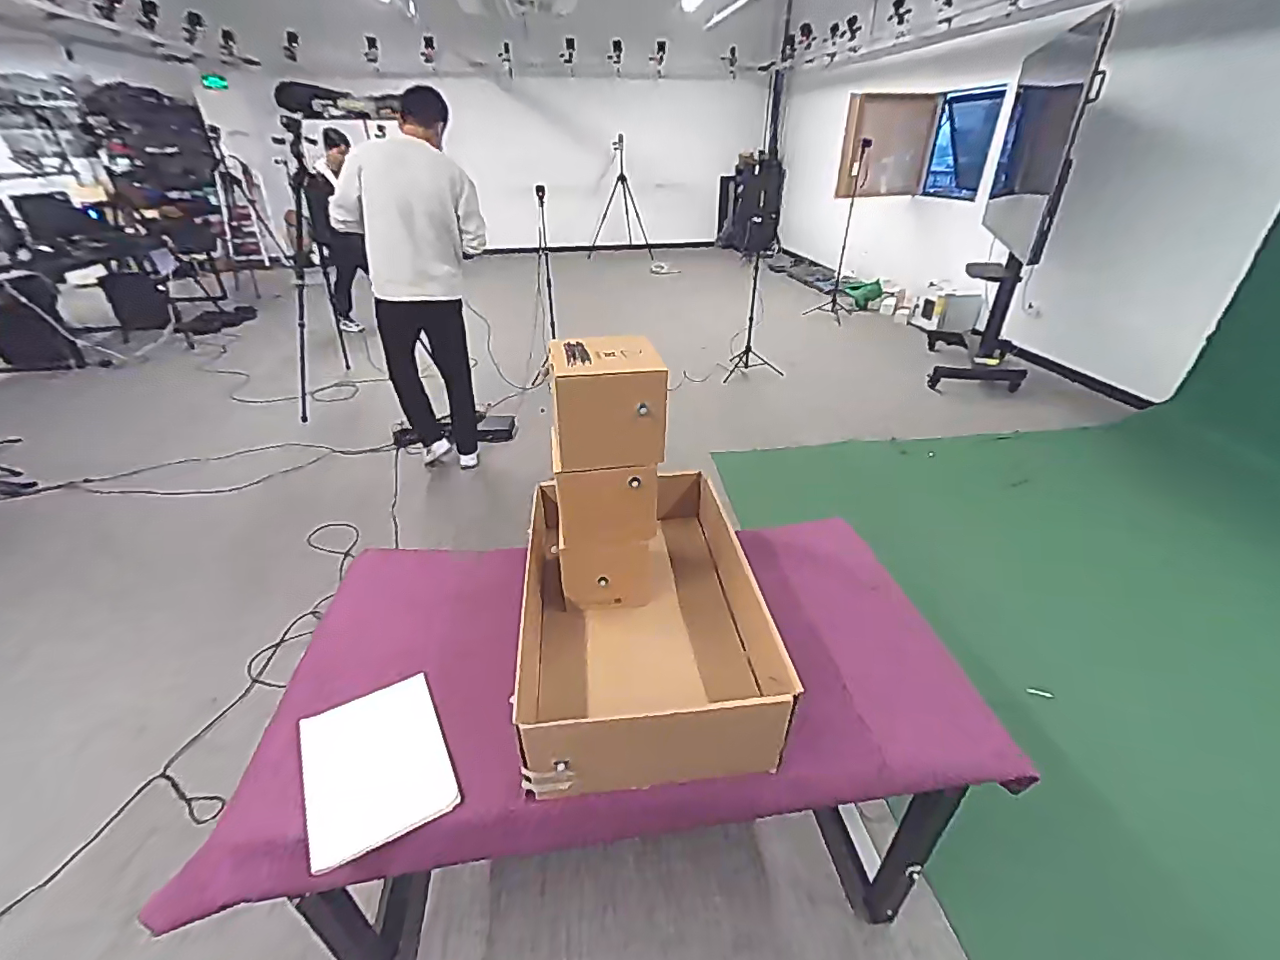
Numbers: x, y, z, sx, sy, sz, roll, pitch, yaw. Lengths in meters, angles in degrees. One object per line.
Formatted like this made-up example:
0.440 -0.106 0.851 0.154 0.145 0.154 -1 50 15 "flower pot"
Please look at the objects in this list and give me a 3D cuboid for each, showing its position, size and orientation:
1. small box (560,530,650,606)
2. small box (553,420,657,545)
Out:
-0.070 0.139 1.093 0.168 0.176 0.179 -4 34 -5 "small box"
-0.065 0.005 1.002 0.179 0.176 0.168 -5 34 -7 "small box"
